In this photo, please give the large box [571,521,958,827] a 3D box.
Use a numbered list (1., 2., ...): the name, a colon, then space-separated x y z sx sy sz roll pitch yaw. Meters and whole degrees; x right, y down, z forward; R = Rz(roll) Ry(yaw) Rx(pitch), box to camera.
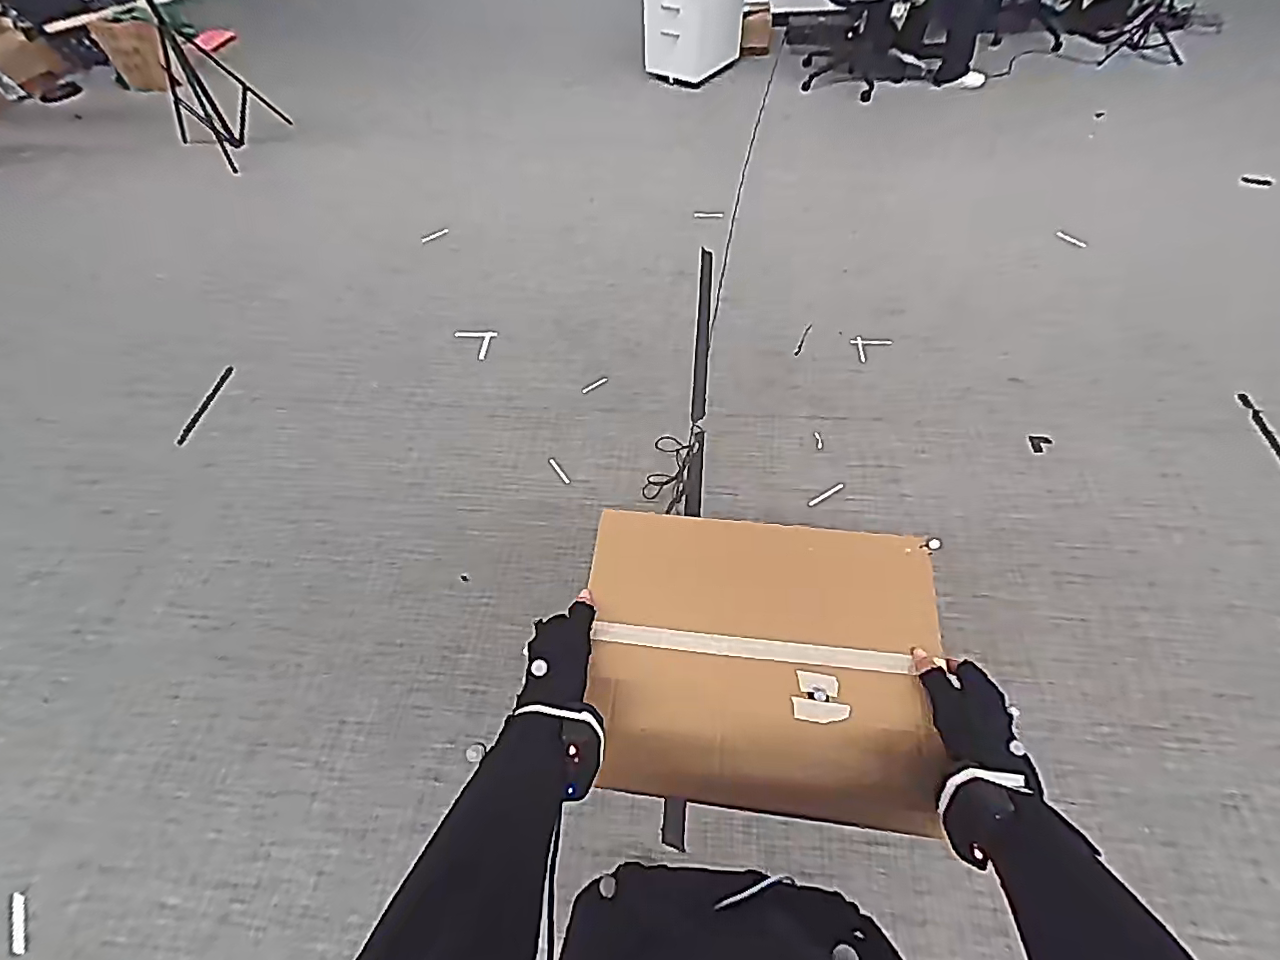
1. large box: 0.143 0.274 0.756 0.408 0.320 0.320 5 61 6
